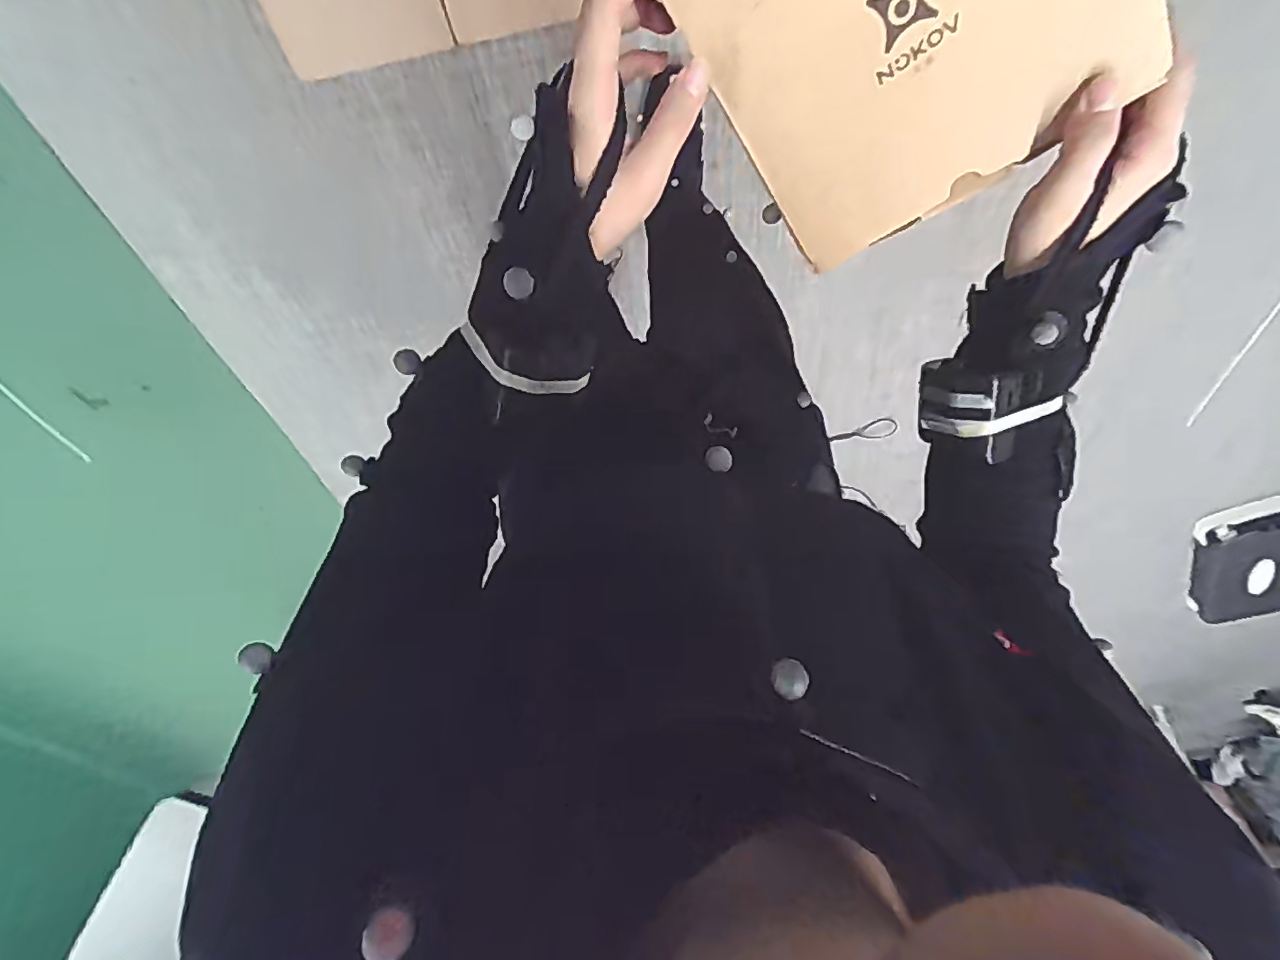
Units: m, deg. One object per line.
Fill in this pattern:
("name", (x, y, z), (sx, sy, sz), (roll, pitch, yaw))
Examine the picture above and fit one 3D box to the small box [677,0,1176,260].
("small box", (0.132, -0.265, 0.291), (0.168, 0.176, 0.179), (-23, 126, 34))
